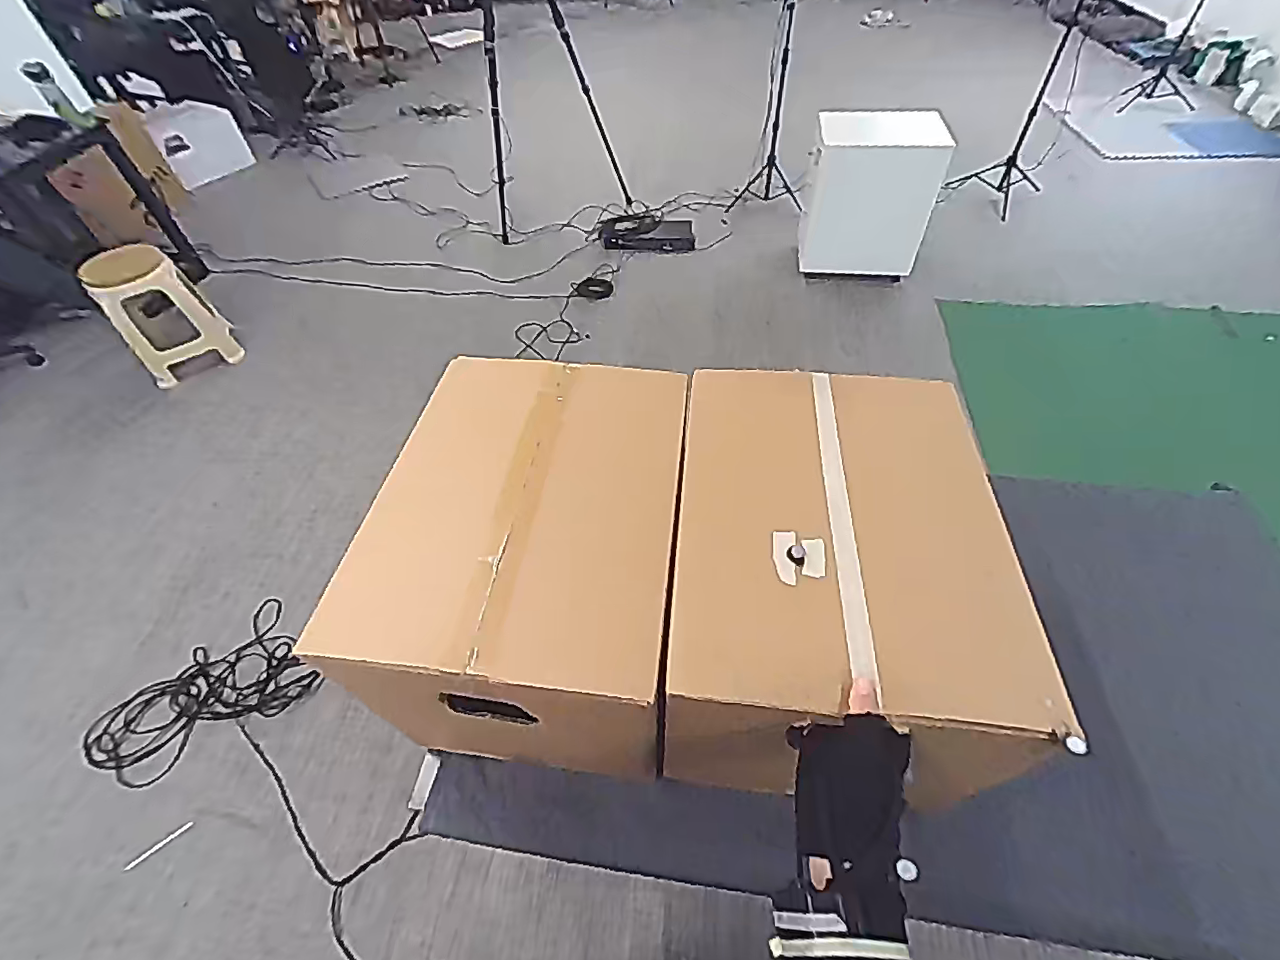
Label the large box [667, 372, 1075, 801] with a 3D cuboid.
[{"bbox_3d":[0.200,0.122,0.656,0.320,0.320,0.408,3,52,6],"label":"large box"}]
